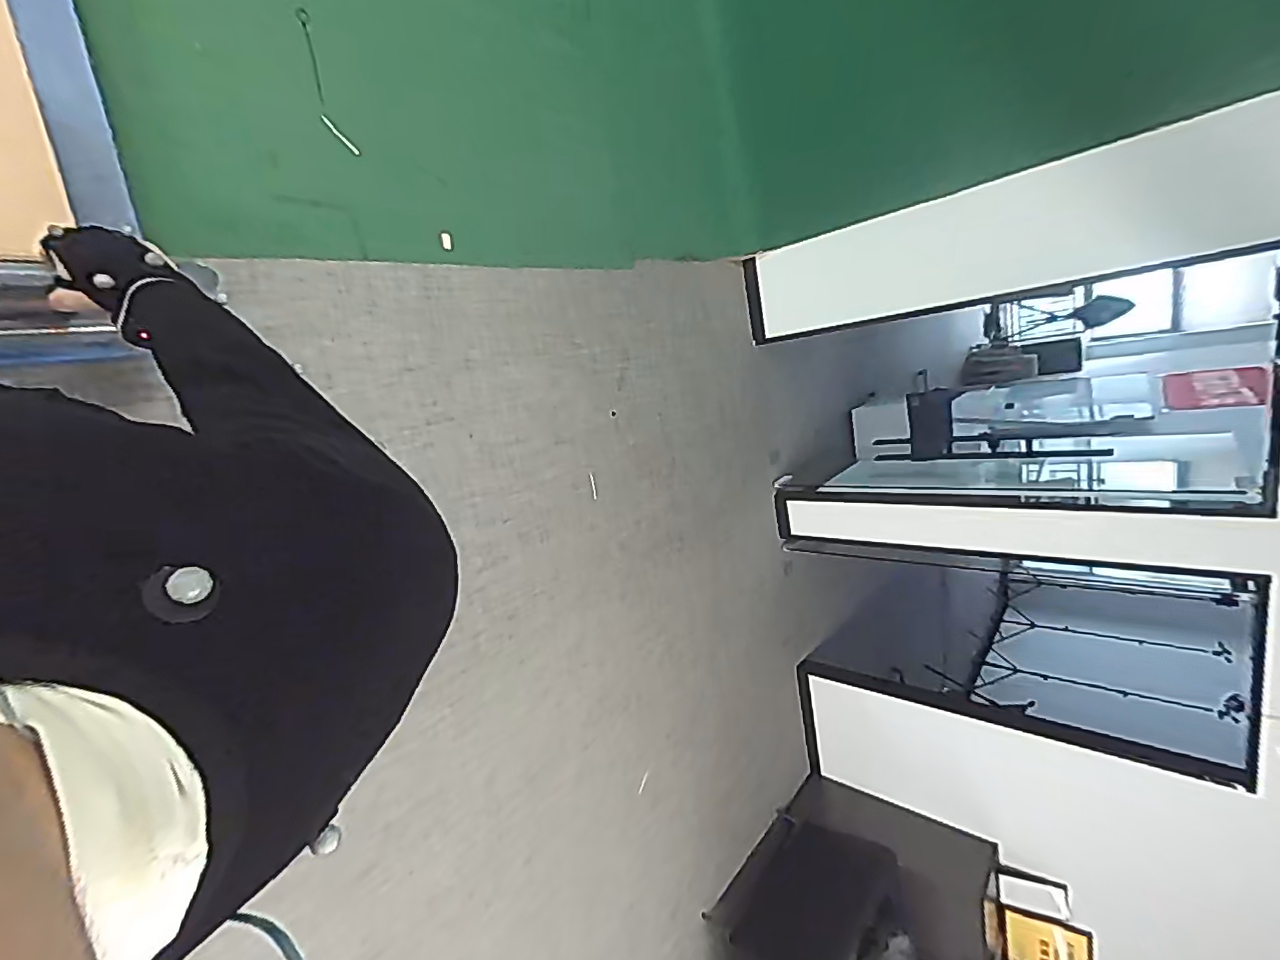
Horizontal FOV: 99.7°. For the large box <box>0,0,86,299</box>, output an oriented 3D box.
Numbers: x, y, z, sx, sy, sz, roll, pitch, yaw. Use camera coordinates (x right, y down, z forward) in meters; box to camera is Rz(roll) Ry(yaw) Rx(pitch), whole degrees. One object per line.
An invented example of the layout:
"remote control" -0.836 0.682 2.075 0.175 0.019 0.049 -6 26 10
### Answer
"large box" -1.104 -0.503 0.805 0.320 0.320 0.408 -19 104 -45
